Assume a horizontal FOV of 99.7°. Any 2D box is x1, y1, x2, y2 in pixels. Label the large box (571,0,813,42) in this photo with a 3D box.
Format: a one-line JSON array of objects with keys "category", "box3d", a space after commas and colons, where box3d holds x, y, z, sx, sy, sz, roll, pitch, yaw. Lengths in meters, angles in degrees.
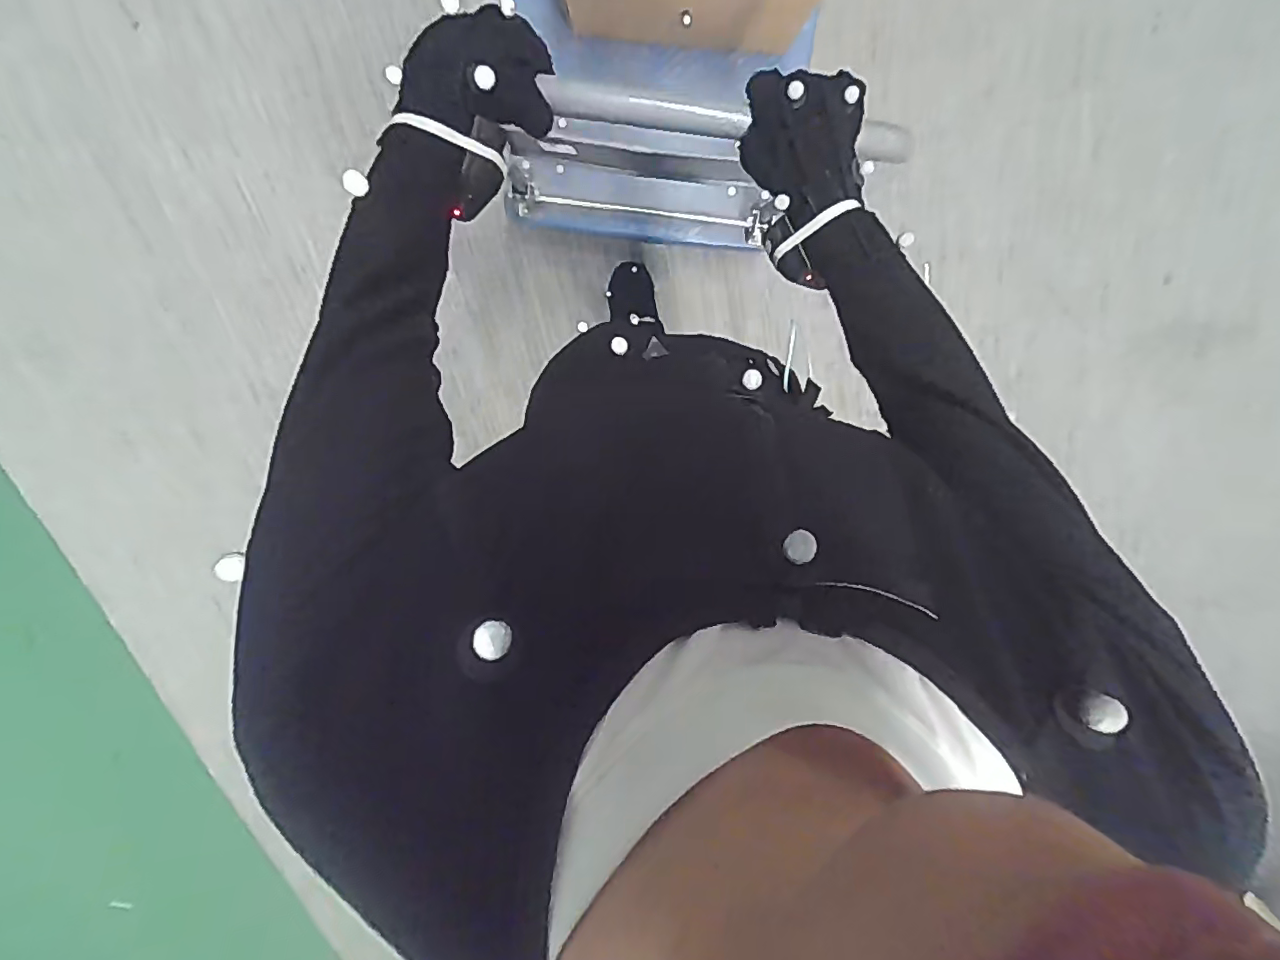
[{"category": "large box", "box3d": [0.089, -0.925, 0.833, 0.408, 0.320, 0.320, 3, 110, -1]}]
